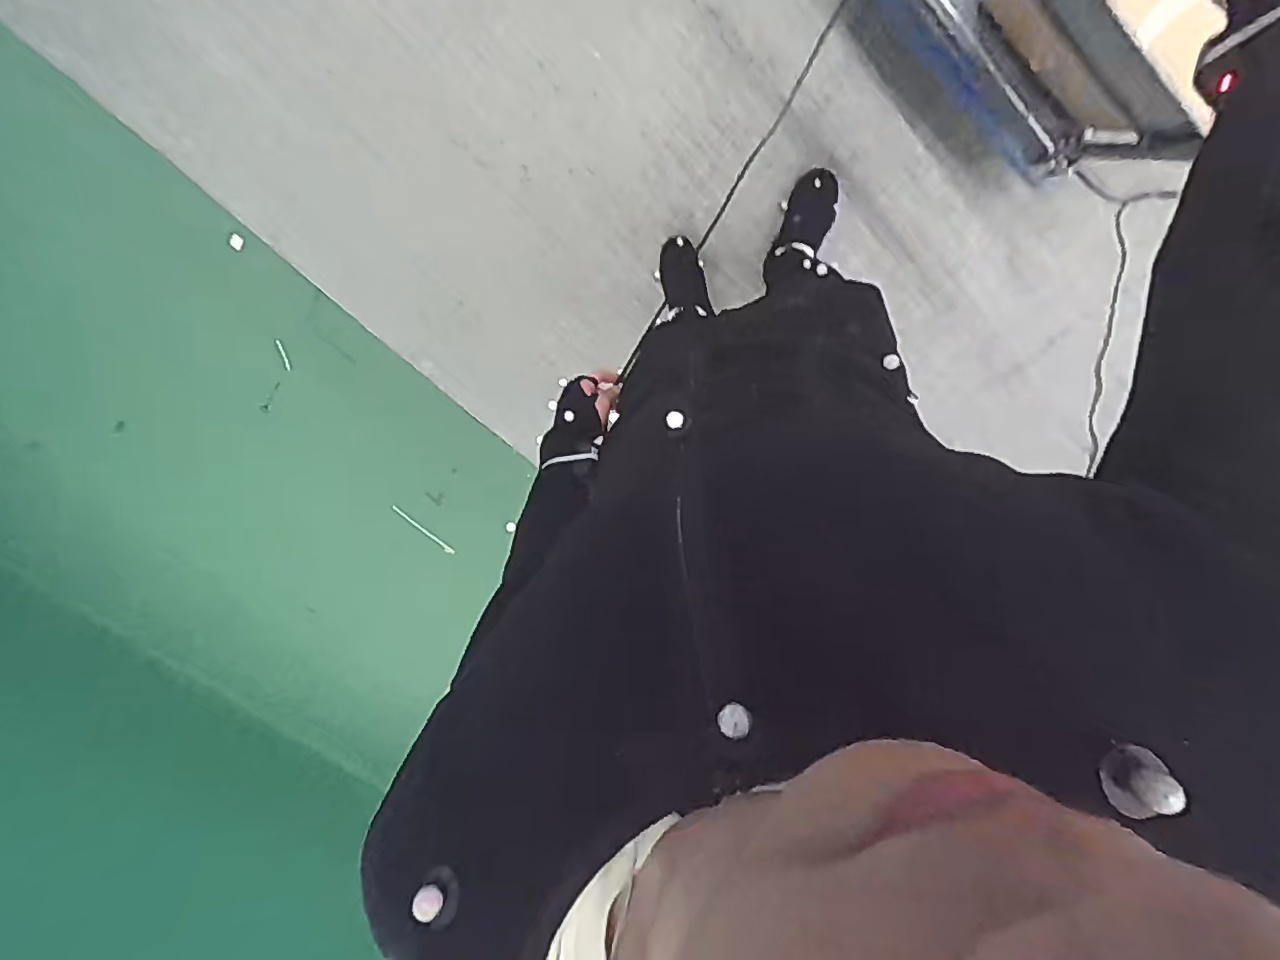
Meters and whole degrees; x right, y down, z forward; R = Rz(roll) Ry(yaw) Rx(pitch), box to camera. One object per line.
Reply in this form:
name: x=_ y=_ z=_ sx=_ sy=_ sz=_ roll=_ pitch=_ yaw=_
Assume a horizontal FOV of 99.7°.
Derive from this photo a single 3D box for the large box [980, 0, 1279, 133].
large box: x=0.799 y=-0.778 z=0.759 sx=0.320 sy=0.320 sz=0.408 roll=38 pitch=123 yaw=-13
